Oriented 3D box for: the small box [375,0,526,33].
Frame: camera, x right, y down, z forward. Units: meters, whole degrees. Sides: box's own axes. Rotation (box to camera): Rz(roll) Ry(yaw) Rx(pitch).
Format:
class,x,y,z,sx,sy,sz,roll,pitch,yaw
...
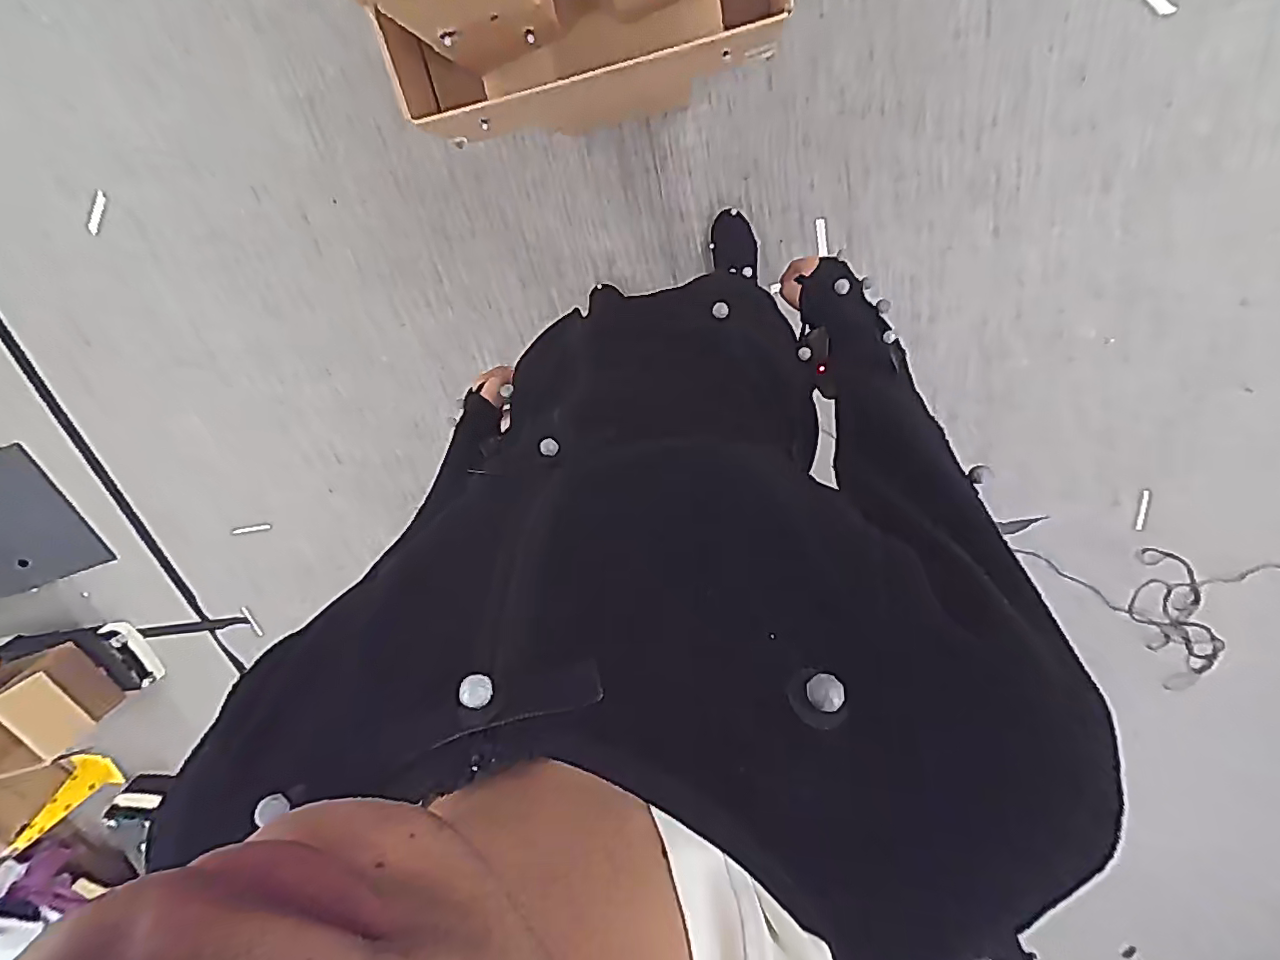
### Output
class,x,y,z,sx,sy,sz,roll,pitch,yaw
small box,-0.255,-0.698,0.671,0.168,0.176,0.179,-12,113,11
